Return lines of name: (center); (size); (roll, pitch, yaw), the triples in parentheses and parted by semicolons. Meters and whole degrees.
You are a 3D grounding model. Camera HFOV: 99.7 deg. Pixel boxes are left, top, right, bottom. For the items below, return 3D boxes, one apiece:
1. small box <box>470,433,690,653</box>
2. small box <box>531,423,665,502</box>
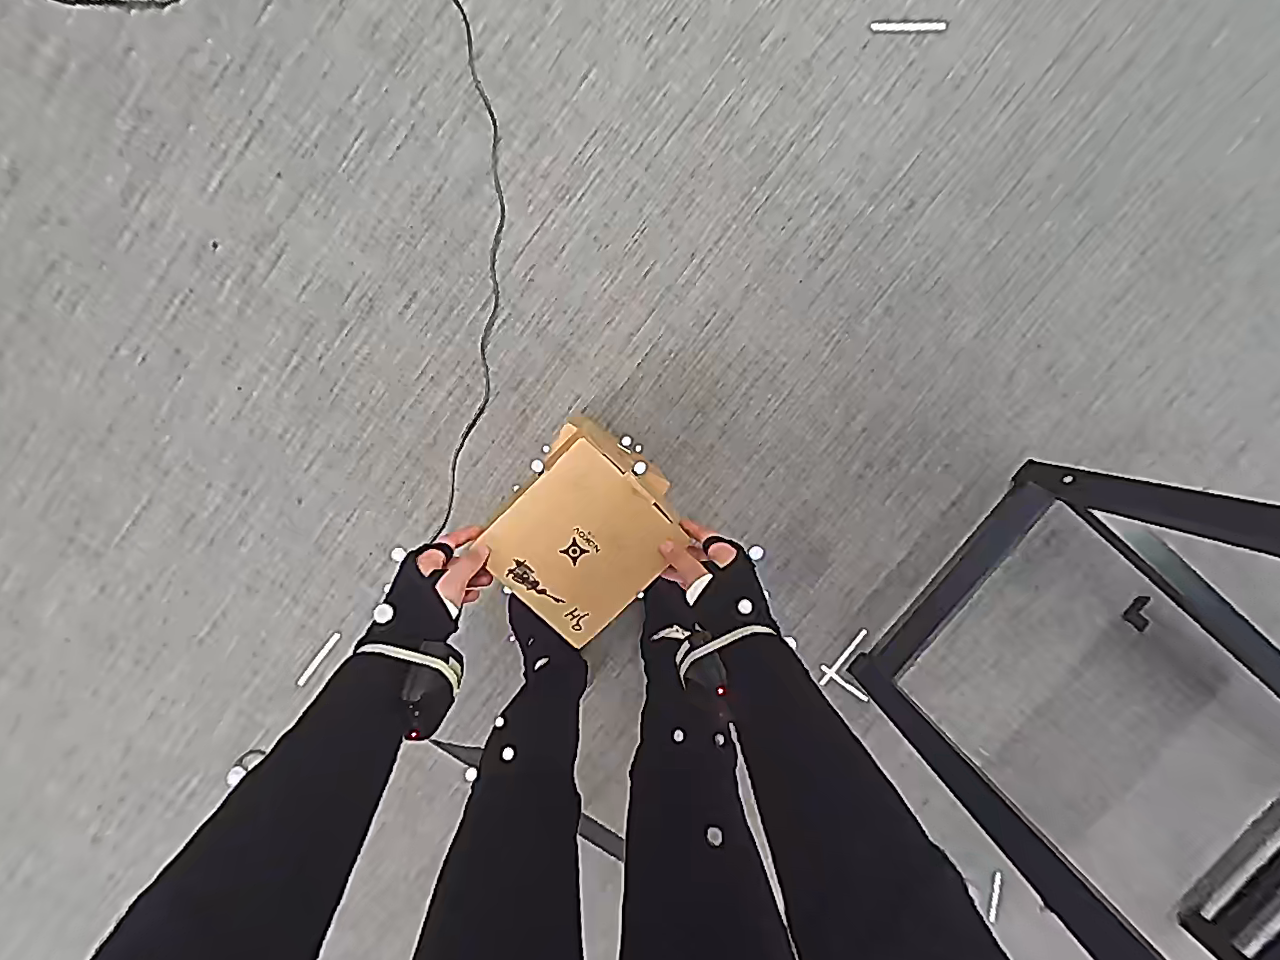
small box: (-0.069, 0.060, 0.645); (0.179, 0.176, 0.168); (-44, 100, 3)
small box: (-0.082, 0.030, 0.807); (0.168, 0.176, 0.179); (31, 95, -9)
